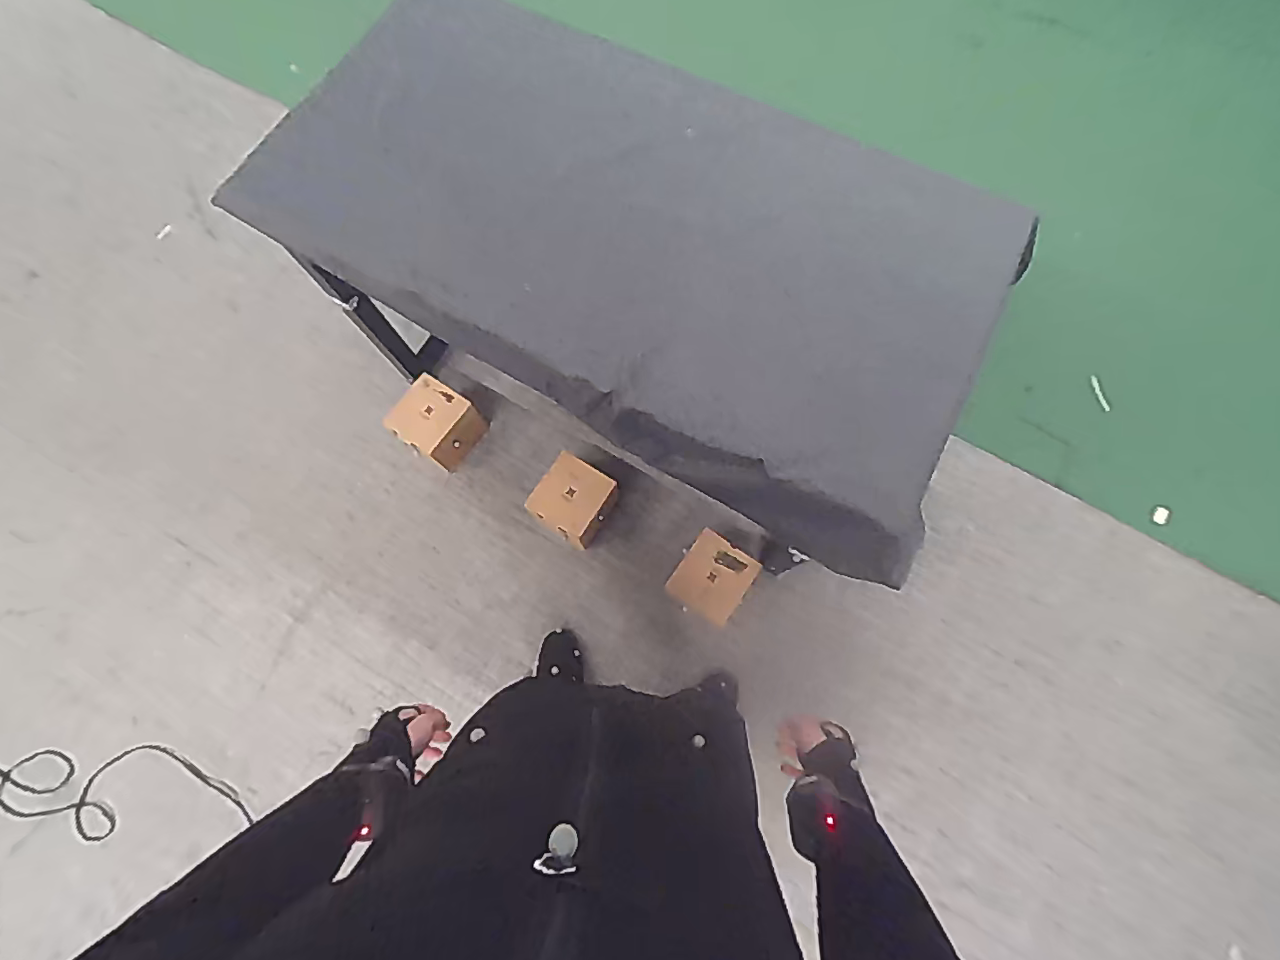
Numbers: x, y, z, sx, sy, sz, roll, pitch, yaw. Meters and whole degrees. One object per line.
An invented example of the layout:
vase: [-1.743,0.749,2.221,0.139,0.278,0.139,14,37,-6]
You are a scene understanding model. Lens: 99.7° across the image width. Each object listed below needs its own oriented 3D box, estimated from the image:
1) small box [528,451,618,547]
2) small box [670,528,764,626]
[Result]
small box: [-0.166,0.058,1.422,0.168,0.176,0.179,31,75,8]
small box: [0.183,0.247,1.356,0.168,0.176,0.179,34,78,10]
